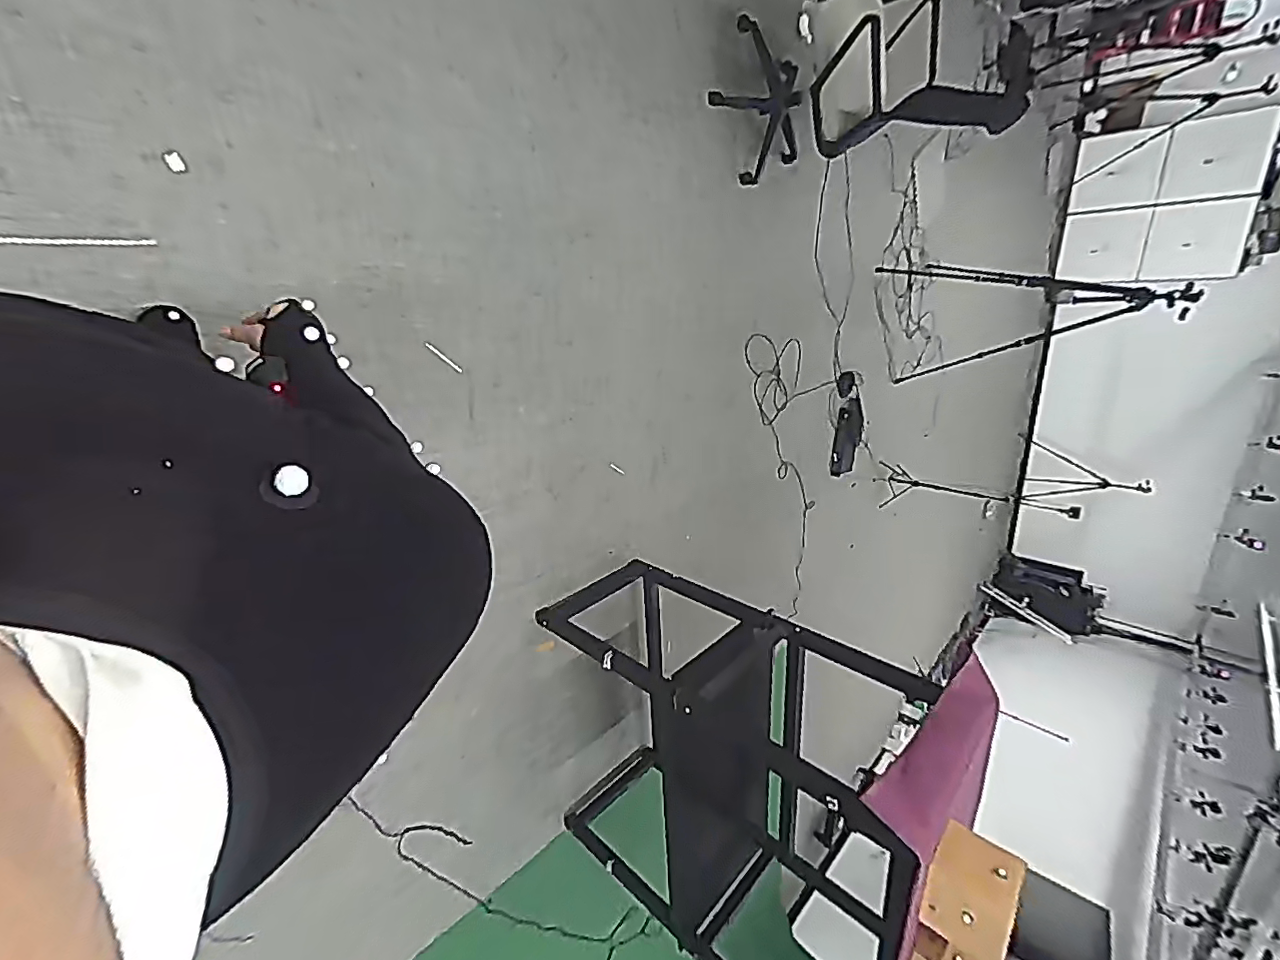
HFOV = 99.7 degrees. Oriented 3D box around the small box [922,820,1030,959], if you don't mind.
[{"bbox_3d":[0.767,0.941,1.241,0.179,0.176,0.168,-17,113,-44],"label":"small box"}]
